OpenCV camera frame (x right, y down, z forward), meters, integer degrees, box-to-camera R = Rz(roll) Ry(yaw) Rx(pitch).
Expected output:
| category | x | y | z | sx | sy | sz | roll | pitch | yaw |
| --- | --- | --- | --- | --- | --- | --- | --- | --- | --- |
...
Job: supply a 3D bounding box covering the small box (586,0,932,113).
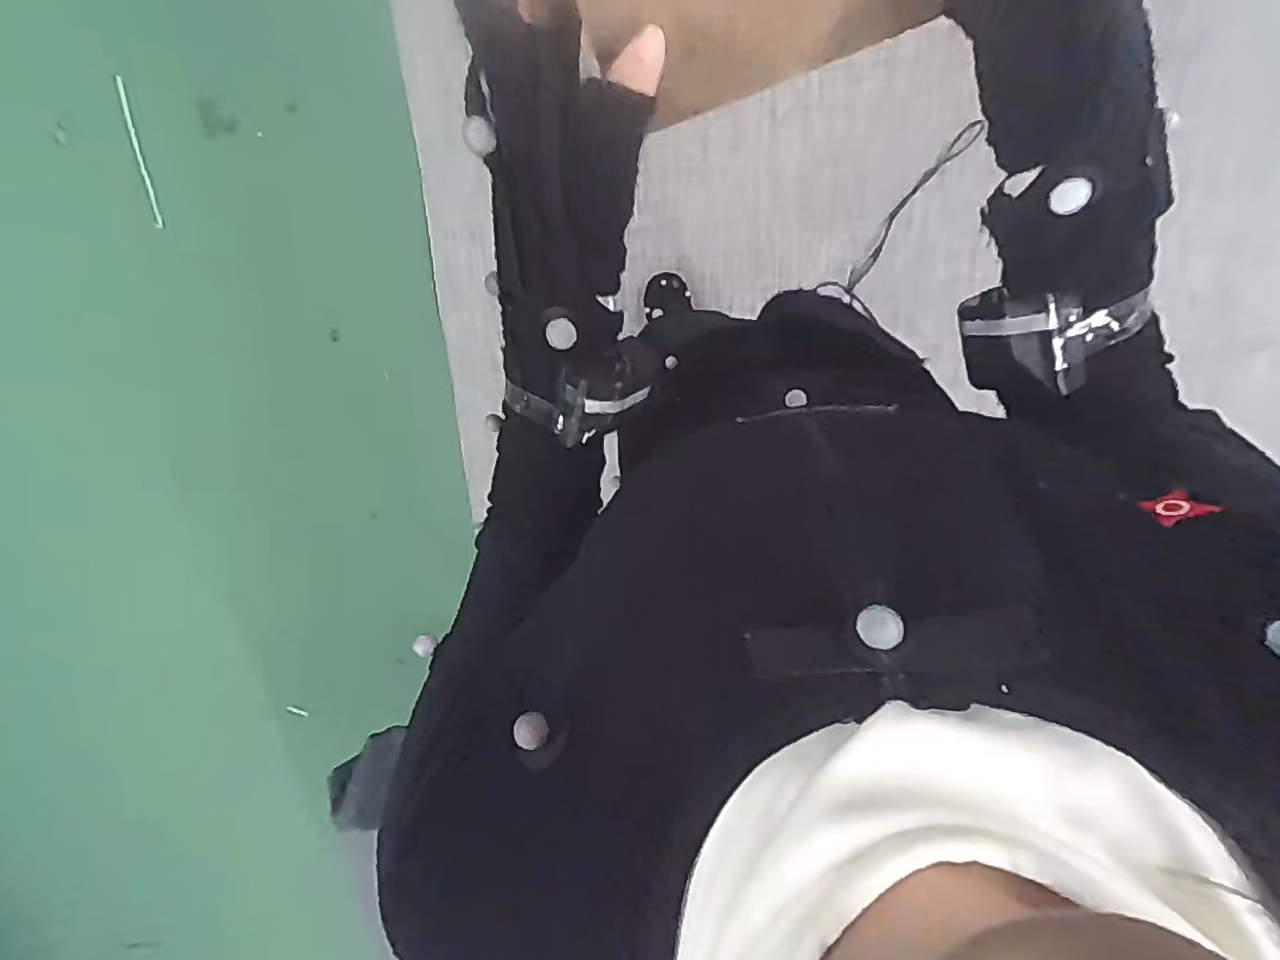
| category | x | y | z | sx | sy | sz | roll | pitch | yaw |
| --- | --- | --- | --- | --- | --- | --- | --- | --- | --- |
| small box | 0.039 | -0.295 | 0.198 | 0.179 | 0.168 | 0.176 | -13 | 84 | 11 |
